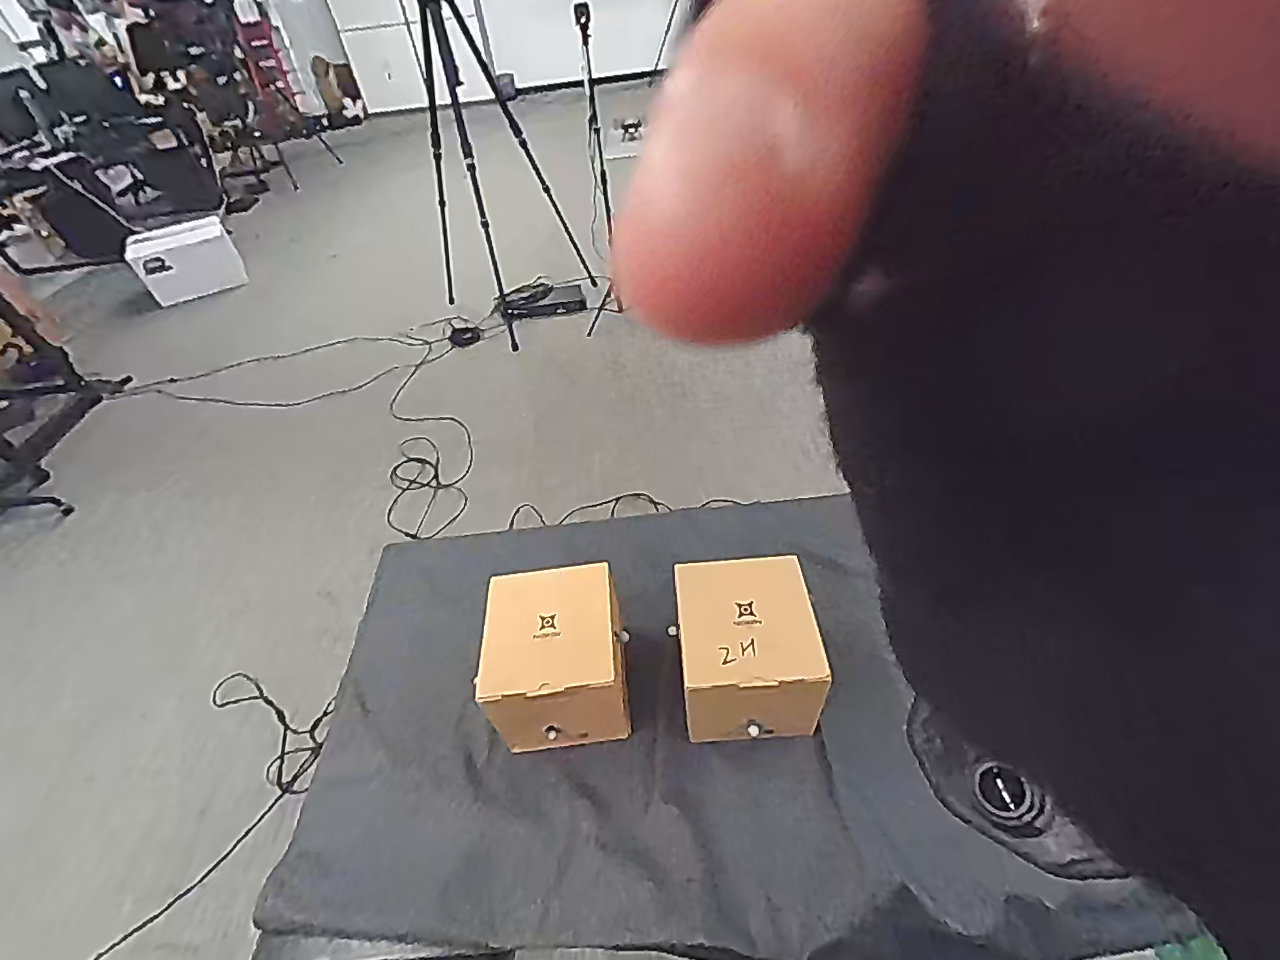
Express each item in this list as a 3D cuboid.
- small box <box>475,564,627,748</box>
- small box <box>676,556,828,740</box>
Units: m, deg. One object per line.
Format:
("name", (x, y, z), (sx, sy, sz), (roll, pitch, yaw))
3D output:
("small box", (-0.111, 0.241, 0.741), (0.168, 0.176, 0.179), (-7, 45, 0))
("small box", (0.135, 0.225, 0.722), (0.168, 0.176, 0.179), (-5, 45, 3))
